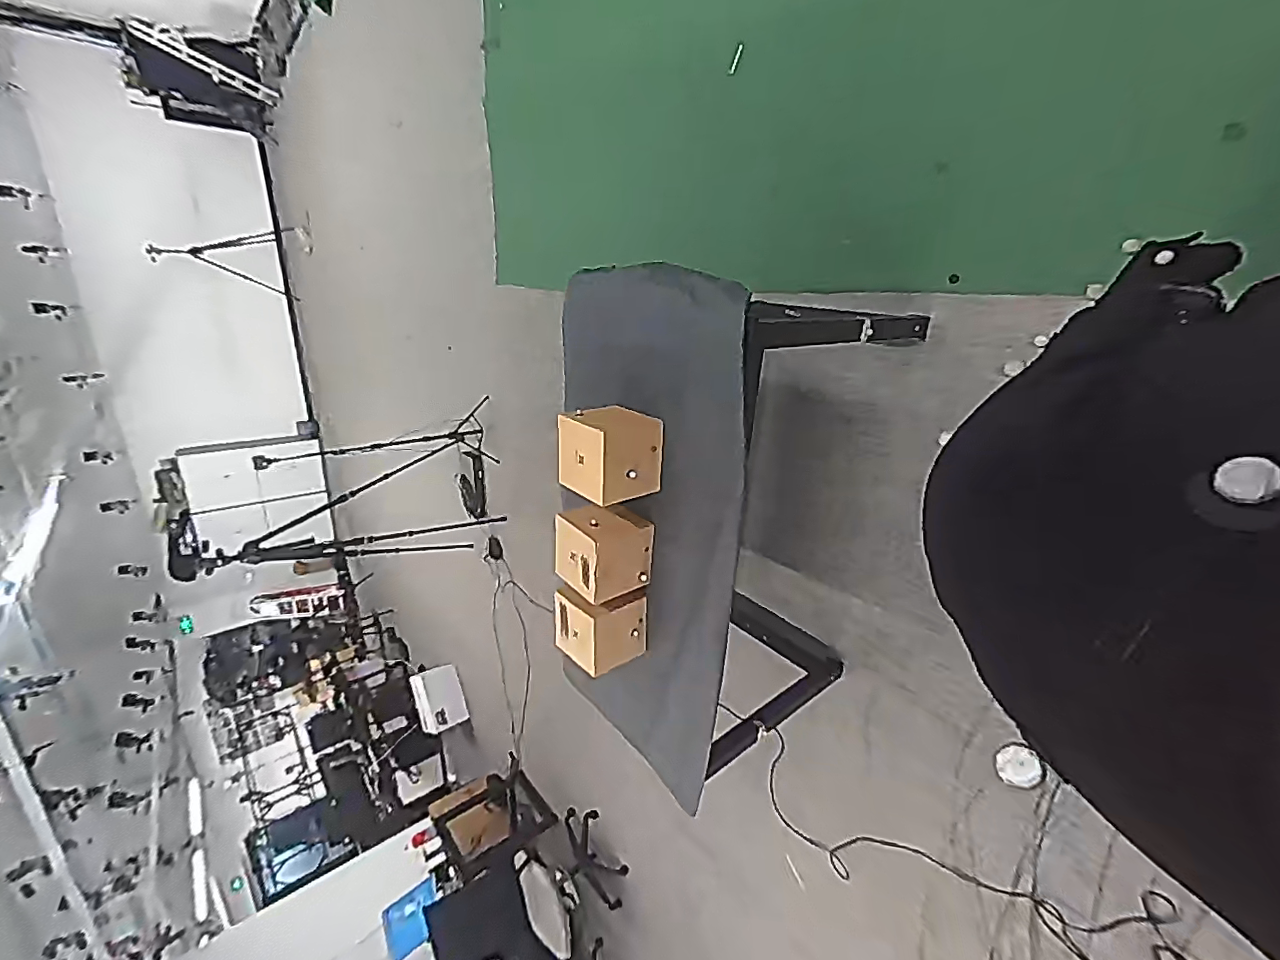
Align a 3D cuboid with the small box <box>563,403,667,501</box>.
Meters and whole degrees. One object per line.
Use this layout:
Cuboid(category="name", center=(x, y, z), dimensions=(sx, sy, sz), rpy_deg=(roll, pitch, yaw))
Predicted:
Cuboid(category="small box", center=(-0.054, -0.072, 1.216), dimensions=(0.179, 0.176, 0.168), rpy_deg=(25, 121, 46))
